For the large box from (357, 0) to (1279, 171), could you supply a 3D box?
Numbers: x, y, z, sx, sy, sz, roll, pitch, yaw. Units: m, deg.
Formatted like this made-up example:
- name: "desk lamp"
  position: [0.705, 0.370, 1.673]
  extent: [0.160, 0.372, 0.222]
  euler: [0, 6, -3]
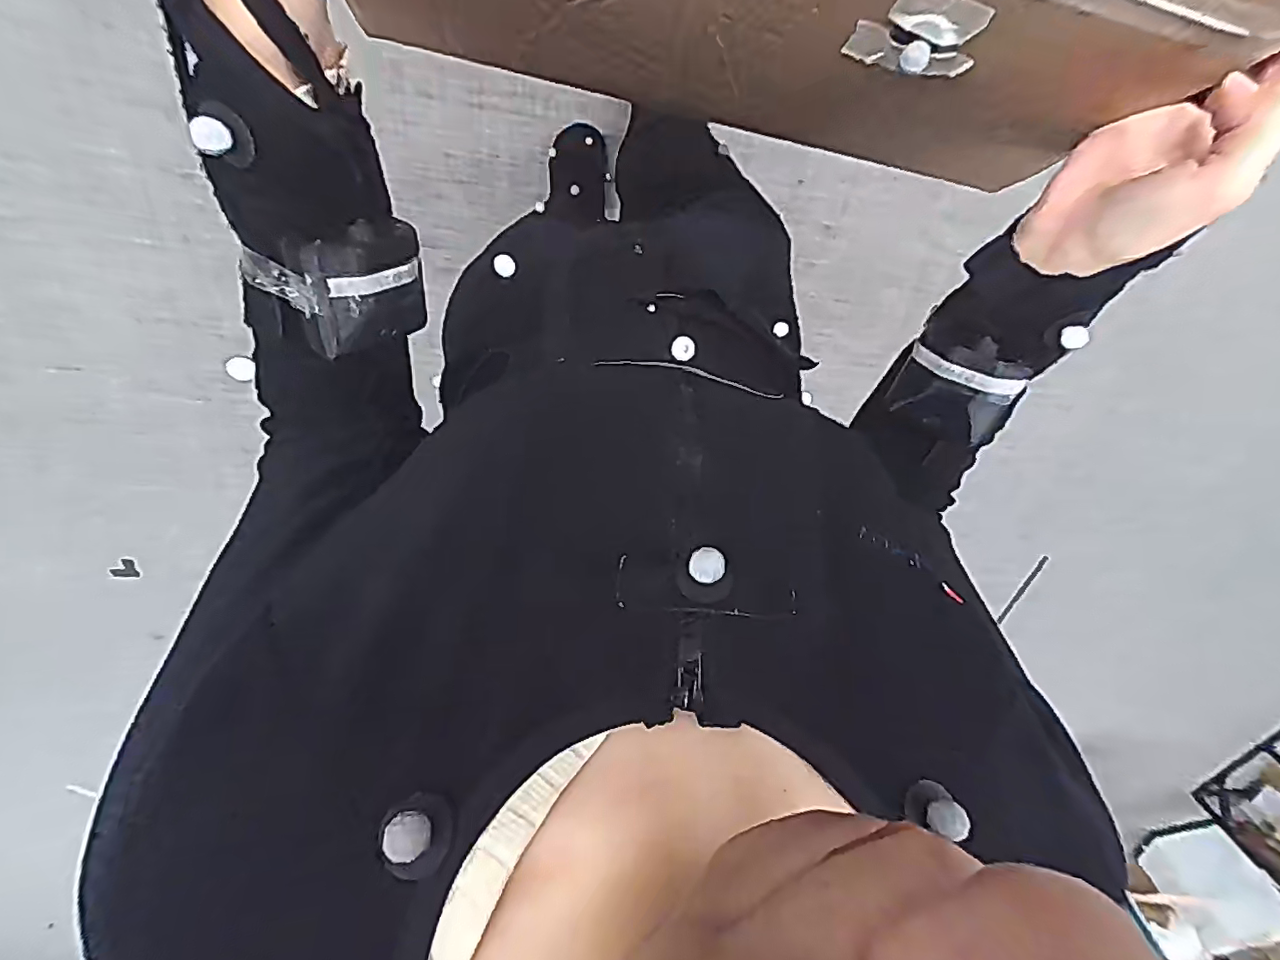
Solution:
- name: "large box"
  position: [0.082, -0.361, 0.172]
  extent: [0.408, 0.320, 0.320]
  euler: [7, 97, -9]
